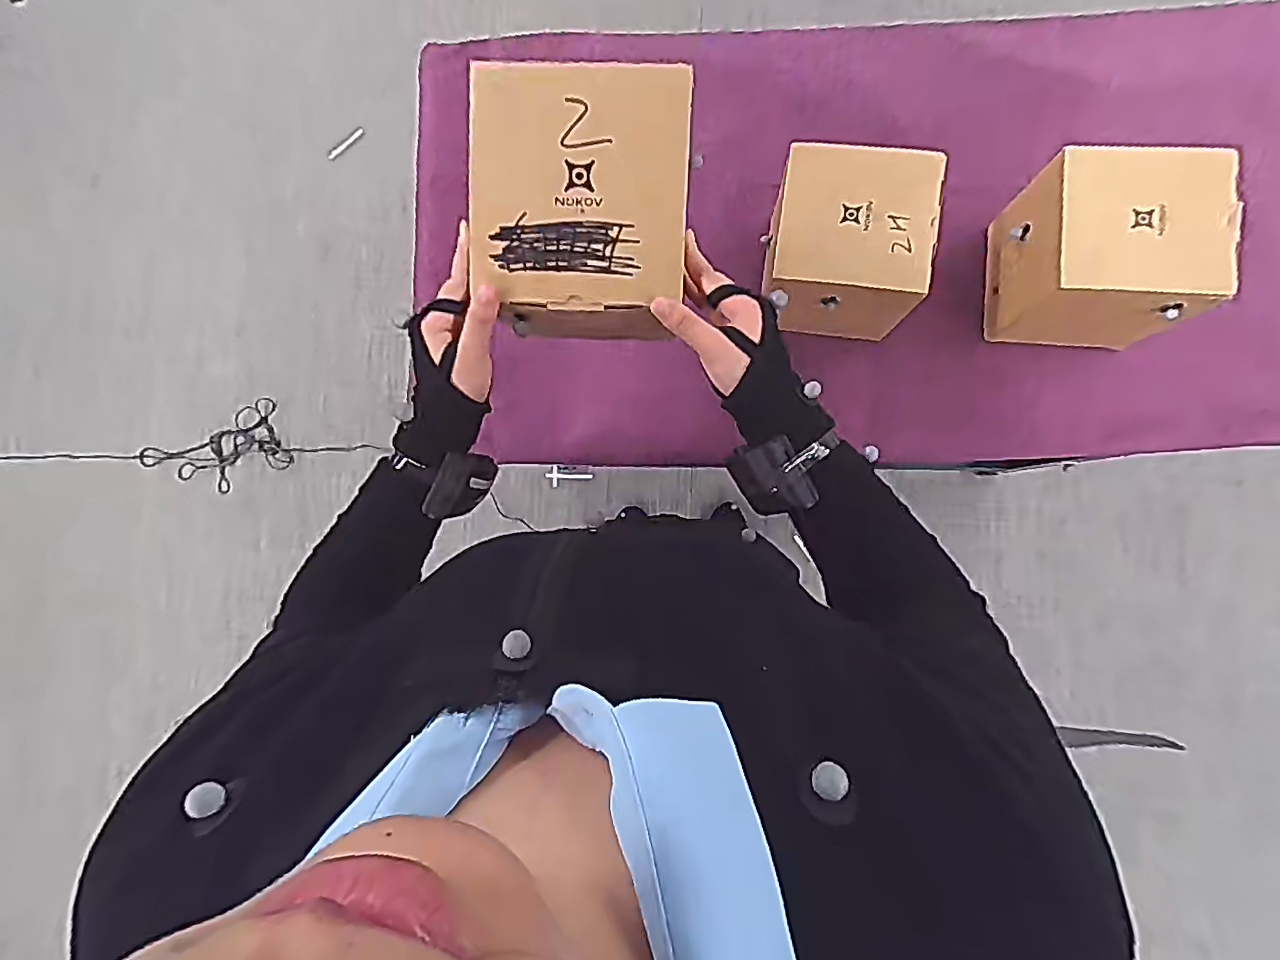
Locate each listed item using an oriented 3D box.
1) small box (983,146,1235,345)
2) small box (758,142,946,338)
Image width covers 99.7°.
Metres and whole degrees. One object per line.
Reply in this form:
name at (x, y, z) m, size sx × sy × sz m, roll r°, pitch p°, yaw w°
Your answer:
small box at (0.551, -0.273, 0.661) m, size 0.179 × 0.176 × 0.168 m, roll 5°, pitch 85°, yaw 6°
small box at (0.254, -0.293, 0.691) m, size 0.179 × 0.176 × 0.168 m, roll 9°, pitch 87°, yaw 6°
